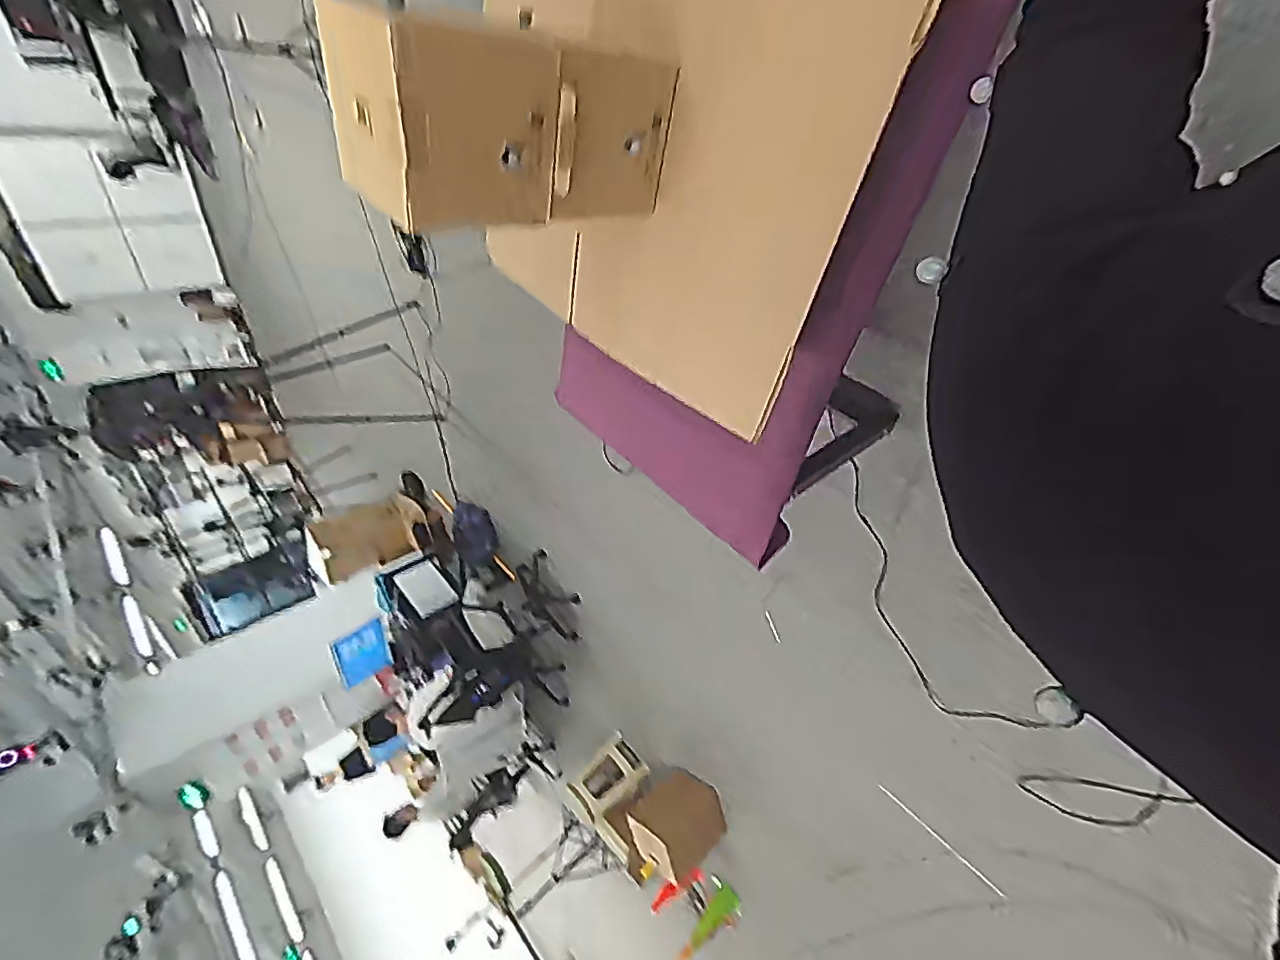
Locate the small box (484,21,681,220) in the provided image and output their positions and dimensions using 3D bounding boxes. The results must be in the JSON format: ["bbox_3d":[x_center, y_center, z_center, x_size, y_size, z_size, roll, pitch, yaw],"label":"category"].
[{"bbox_3d":[-0.079,-0.440,0.674,0.179,0.176,0.168,41,138,29],"label":"small box"}]

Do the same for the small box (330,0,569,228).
[{"bbox_3d":[-0.199,-0.385,0.578,0.179,0.176,0.168,41,137,29],"label":"small box"}]
